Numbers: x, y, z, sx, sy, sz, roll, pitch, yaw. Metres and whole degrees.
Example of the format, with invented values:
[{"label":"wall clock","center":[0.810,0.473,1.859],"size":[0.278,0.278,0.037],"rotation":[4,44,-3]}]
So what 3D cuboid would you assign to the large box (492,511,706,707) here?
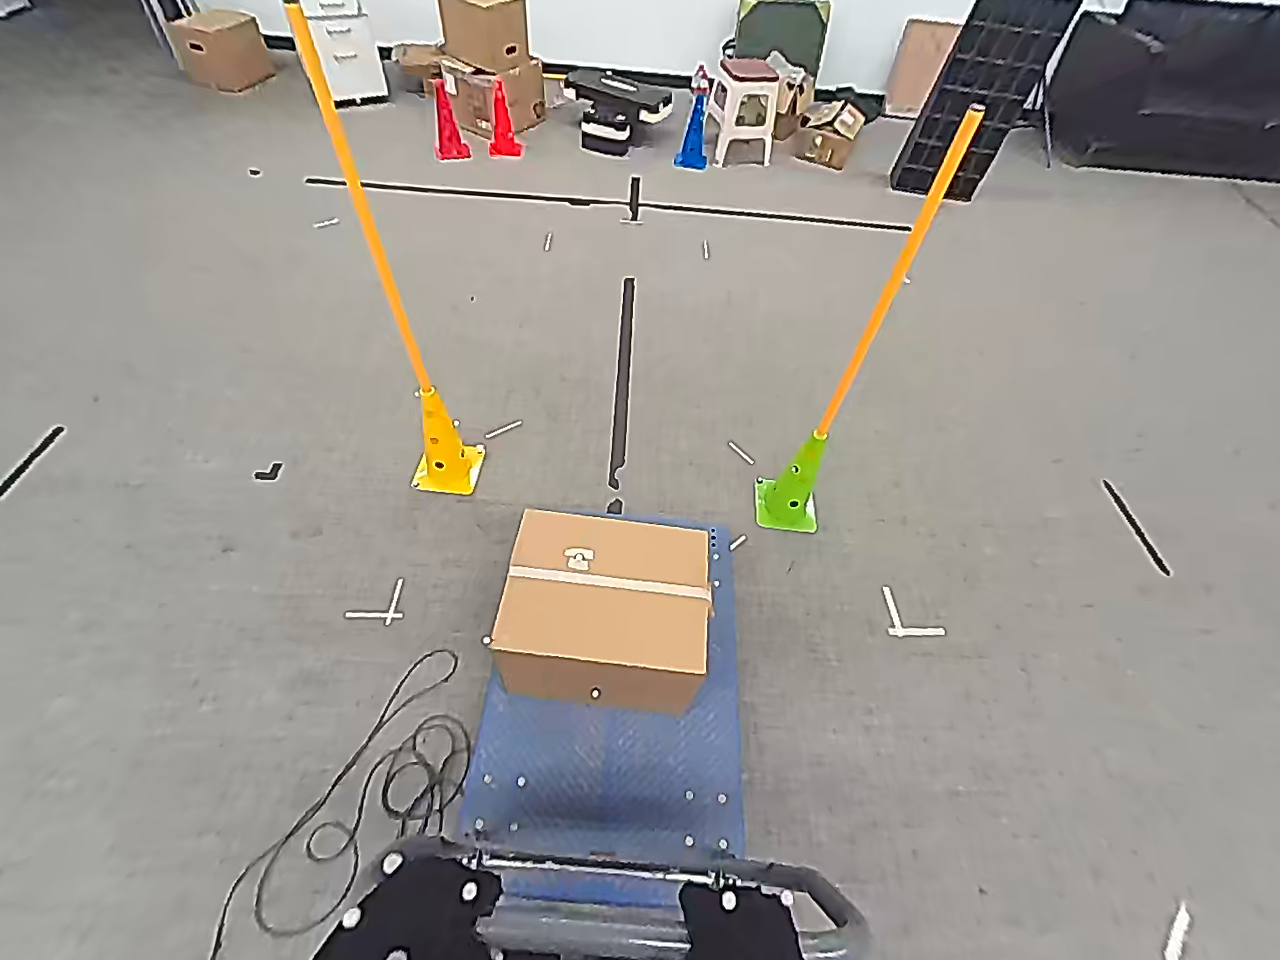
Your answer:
[{"label":"large box","center":[-0.073,0.297,1.208],"size":[0.408,0.320,0.320],"rotation":[7,53,0]}]

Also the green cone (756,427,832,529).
[{"label":"green cone","center":[0.512,-0.028,1.698],"size":[0.202,0.368,0.200],"rotation":[8,53,-2]}]
